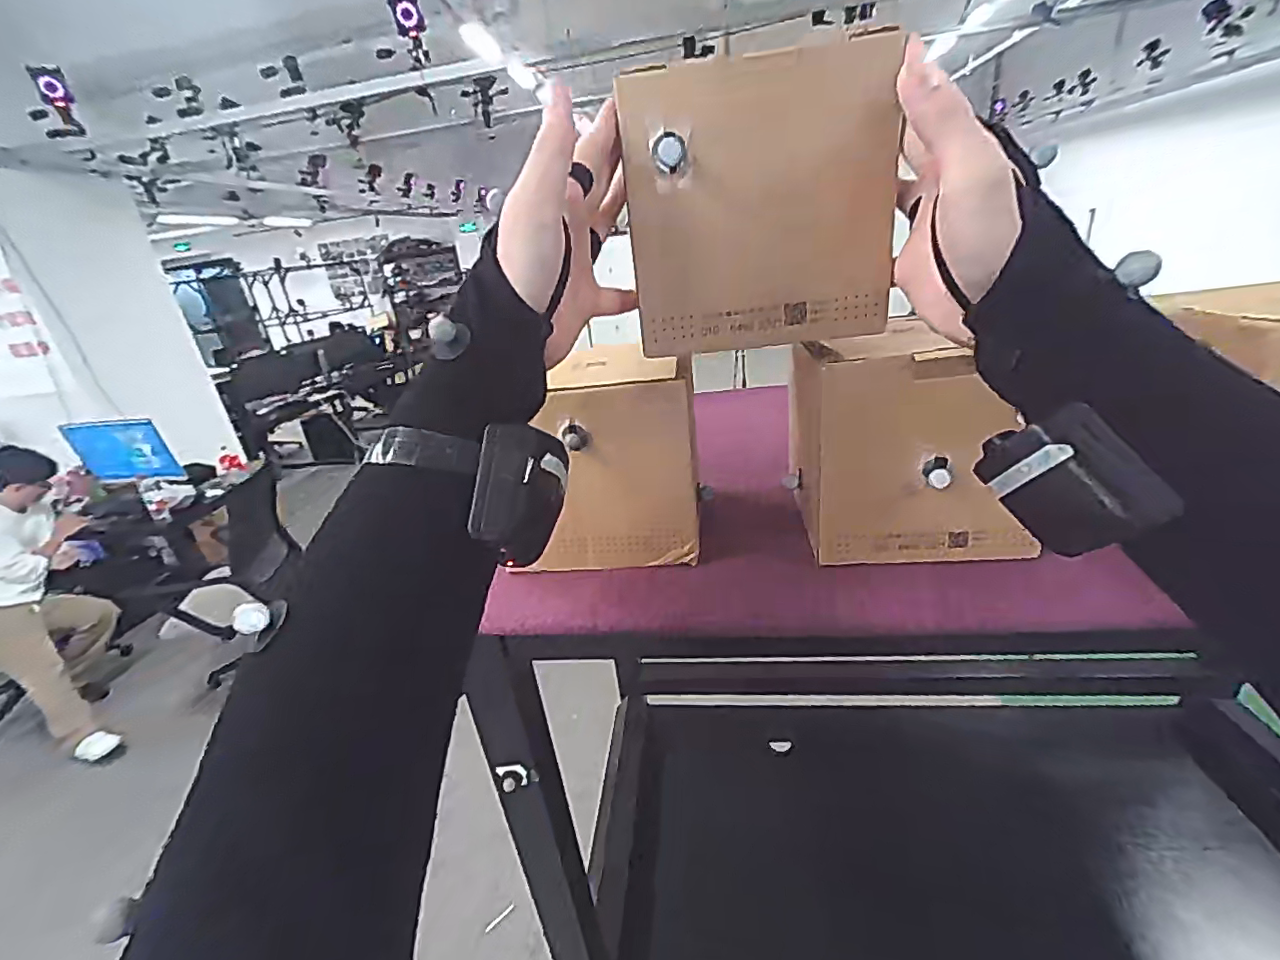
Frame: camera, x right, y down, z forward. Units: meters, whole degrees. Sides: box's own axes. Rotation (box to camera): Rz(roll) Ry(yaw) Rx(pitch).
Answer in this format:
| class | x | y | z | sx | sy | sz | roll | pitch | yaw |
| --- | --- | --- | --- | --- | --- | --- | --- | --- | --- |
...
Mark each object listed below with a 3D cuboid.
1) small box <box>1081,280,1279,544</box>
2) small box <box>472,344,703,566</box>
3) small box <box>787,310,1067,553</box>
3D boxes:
| class | x | y | z | sx | sy | sz | roll | pitch | yaw |
| --- | --- | --- | --- | --- | --- | --- | --- | --- | --- |
| small box | 0.504 | -0.060 | 0.432 | 0.179 | 0.176 | 0.168 | -4 | 21 | 10 |
| small box | -0.032 | -0.028 | 0.518 | 0.179 | 0.176 | 0.168 | -2 | 23 | 8 |
| small box | 0.226 | -0.044 | 0.477 | 0.168 | 0.176 | 0.179 | -4 | 22 | 8 |
